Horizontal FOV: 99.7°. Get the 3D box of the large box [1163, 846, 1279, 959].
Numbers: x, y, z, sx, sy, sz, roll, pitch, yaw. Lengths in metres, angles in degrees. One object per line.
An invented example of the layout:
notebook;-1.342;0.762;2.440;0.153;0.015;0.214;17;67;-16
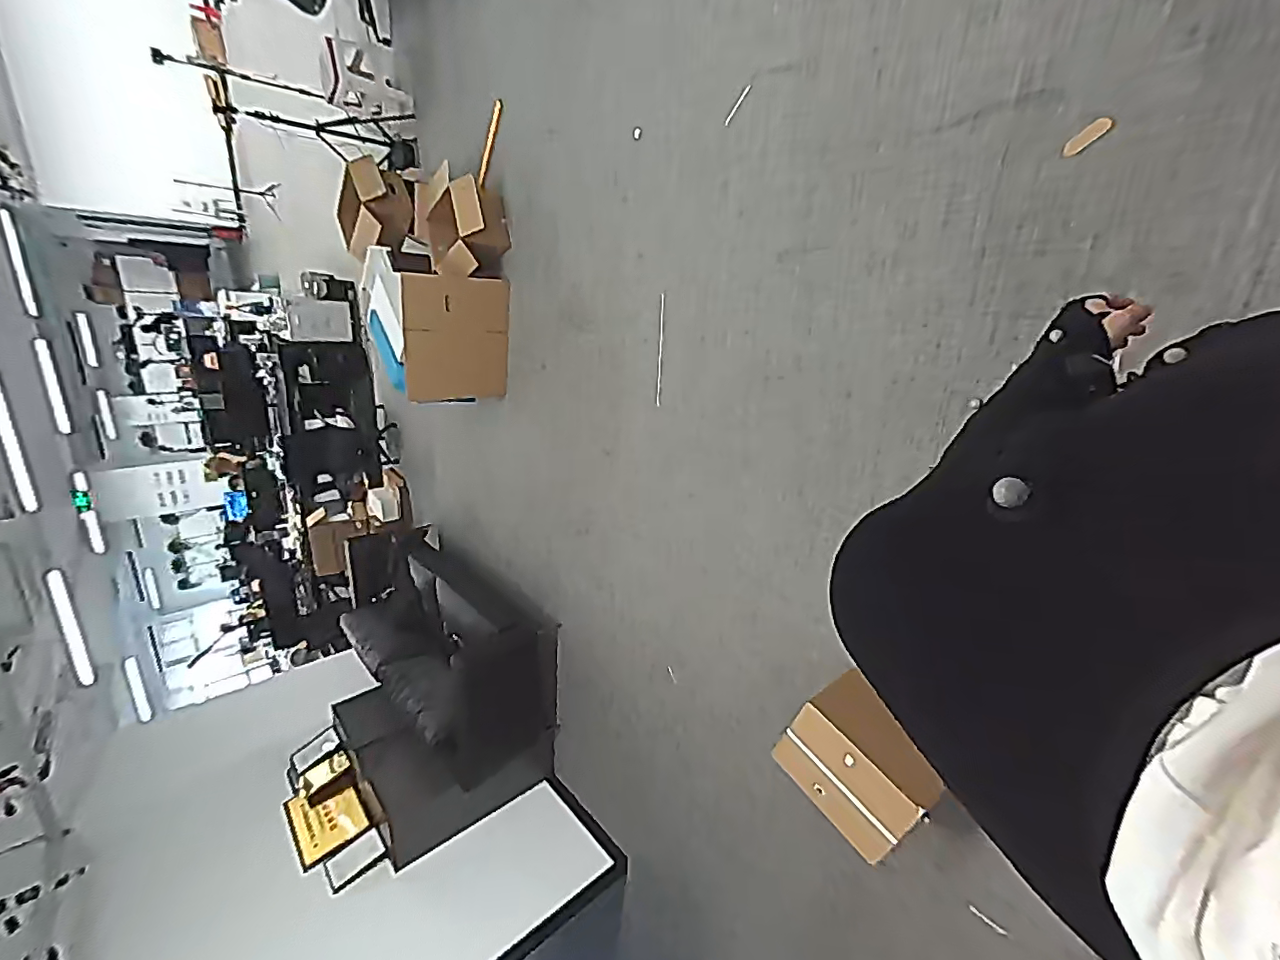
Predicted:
large box;1.351;0.983;1.047;0.408;0.320;0.320;-27;80;48
